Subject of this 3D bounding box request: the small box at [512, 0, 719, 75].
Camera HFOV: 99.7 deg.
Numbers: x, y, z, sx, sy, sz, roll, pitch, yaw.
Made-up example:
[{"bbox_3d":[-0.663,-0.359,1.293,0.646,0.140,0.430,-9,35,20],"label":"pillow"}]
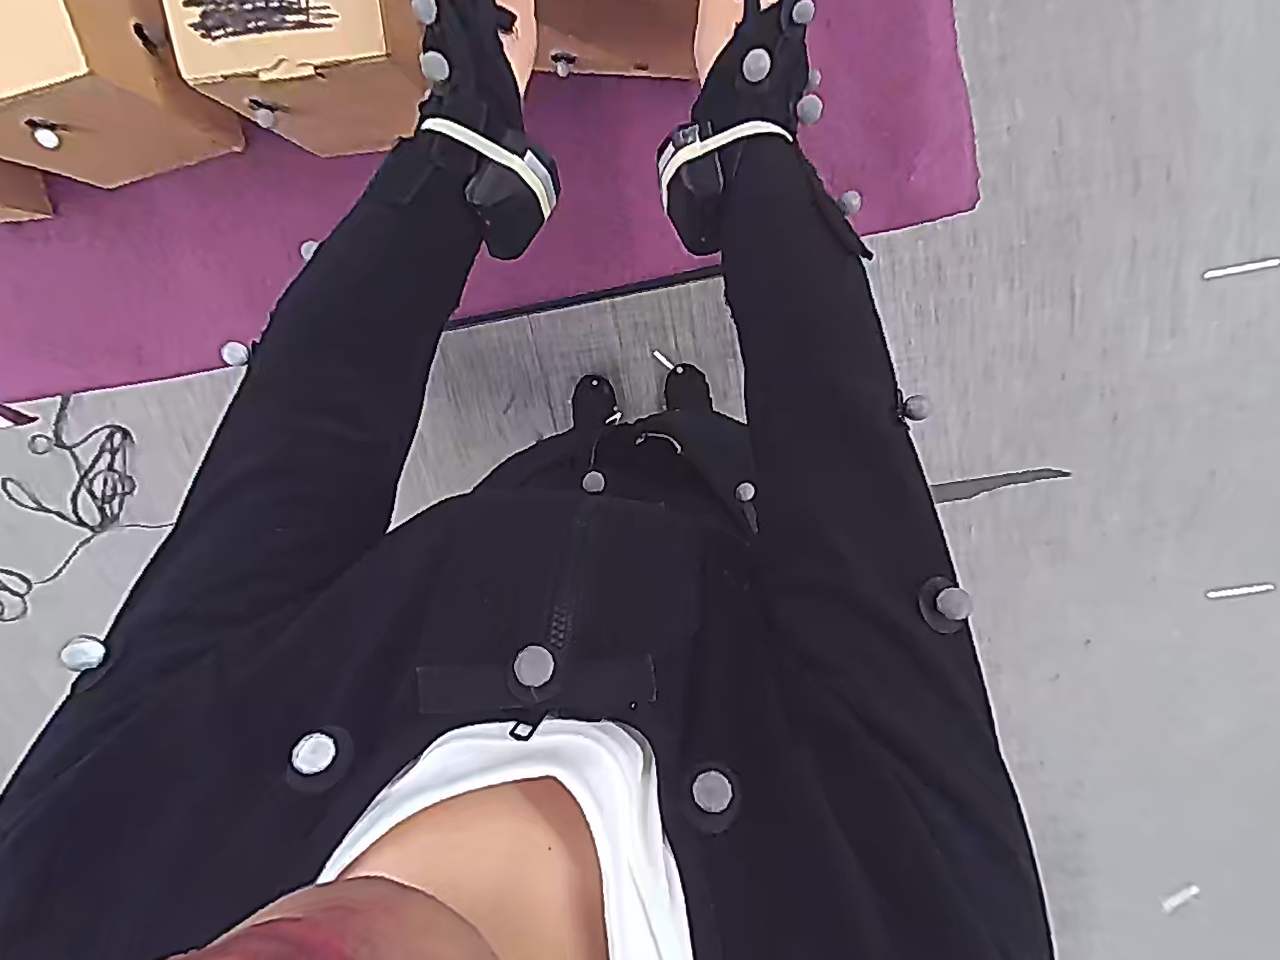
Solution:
[{"bbox_3d":[-0.015,-0.451,0.419,0.168,0.176,0.179,2,104,-2],"label":"small box"}]
